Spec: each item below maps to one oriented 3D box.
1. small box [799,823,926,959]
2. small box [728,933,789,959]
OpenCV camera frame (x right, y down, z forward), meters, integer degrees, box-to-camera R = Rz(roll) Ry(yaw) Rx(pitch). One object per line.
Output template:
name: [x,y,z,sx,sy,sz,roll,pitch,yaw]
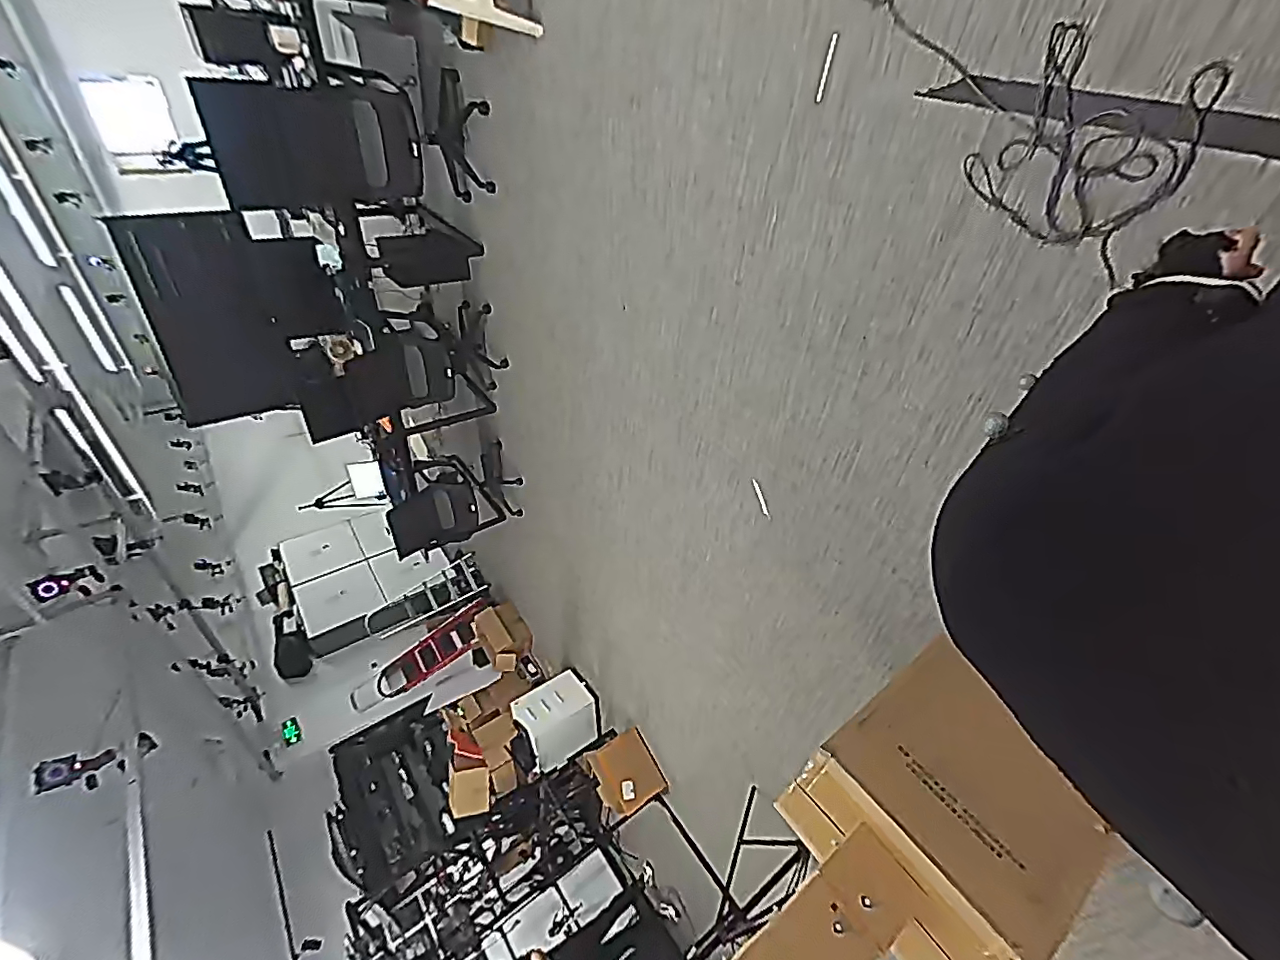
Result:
small box: [0.496,0.920,1.209,0.179,0.176,0.168,45,142,35]
small box: [0.229,1.029,1.048,0.179,0.176,0.168,44,142,35]
